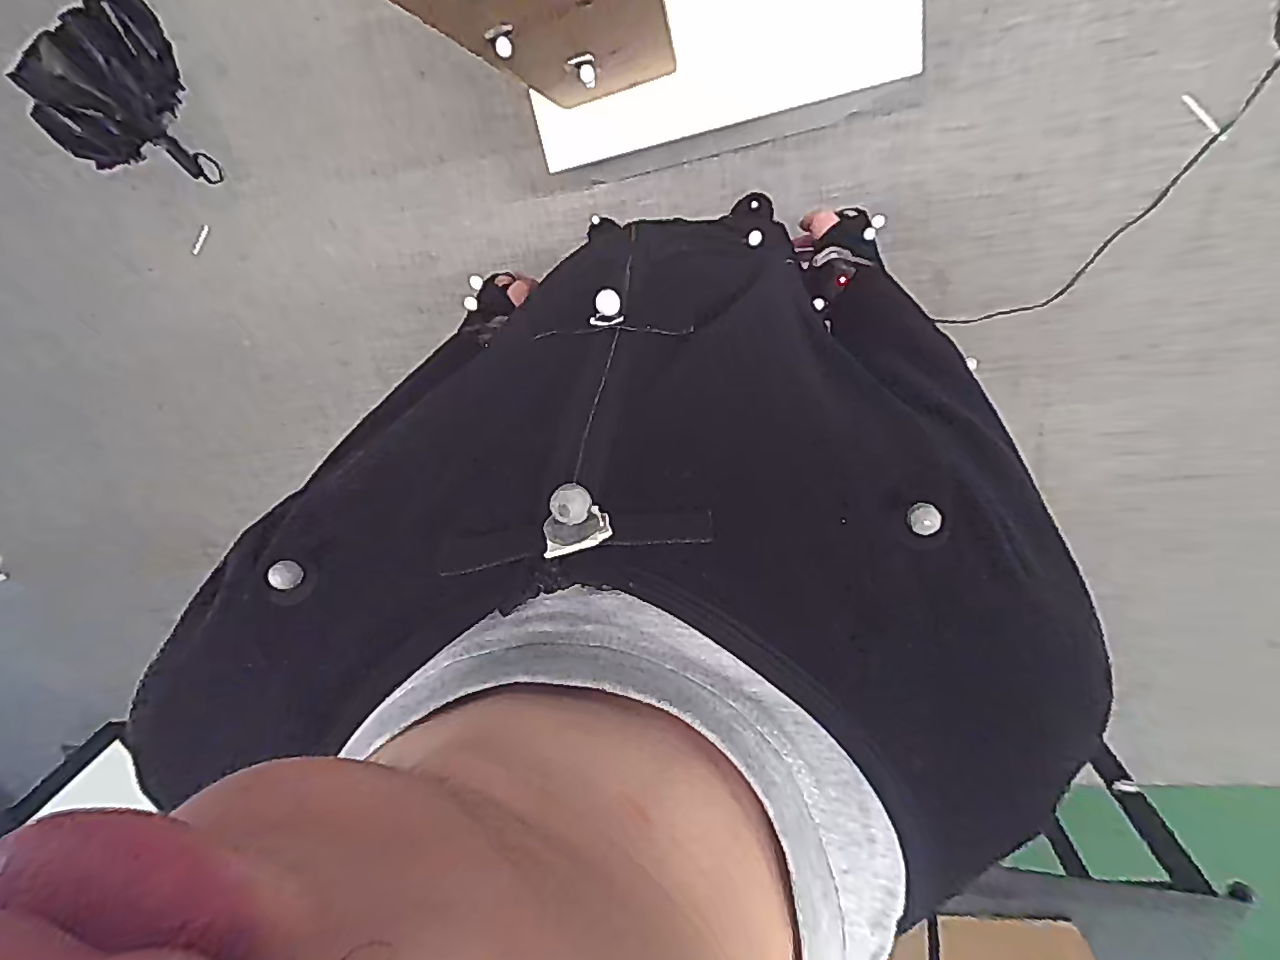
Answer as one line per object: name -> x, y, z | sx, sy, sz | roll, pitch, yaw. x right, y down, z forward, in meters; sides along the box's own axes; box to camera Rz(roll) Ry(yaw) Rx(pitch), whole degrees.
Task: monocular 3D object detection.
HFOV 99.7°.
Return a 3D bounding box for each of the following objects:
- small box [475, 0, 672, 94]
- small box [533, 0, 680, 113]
small box -> -0.073, -0.486, 0.486 | 0.168, 0.176, 0.179 | -11, 115, 14
small box -> -0.051, -0.562, 0.631 | 0.168, 0.176, 0.179 | -10, 116, 13
